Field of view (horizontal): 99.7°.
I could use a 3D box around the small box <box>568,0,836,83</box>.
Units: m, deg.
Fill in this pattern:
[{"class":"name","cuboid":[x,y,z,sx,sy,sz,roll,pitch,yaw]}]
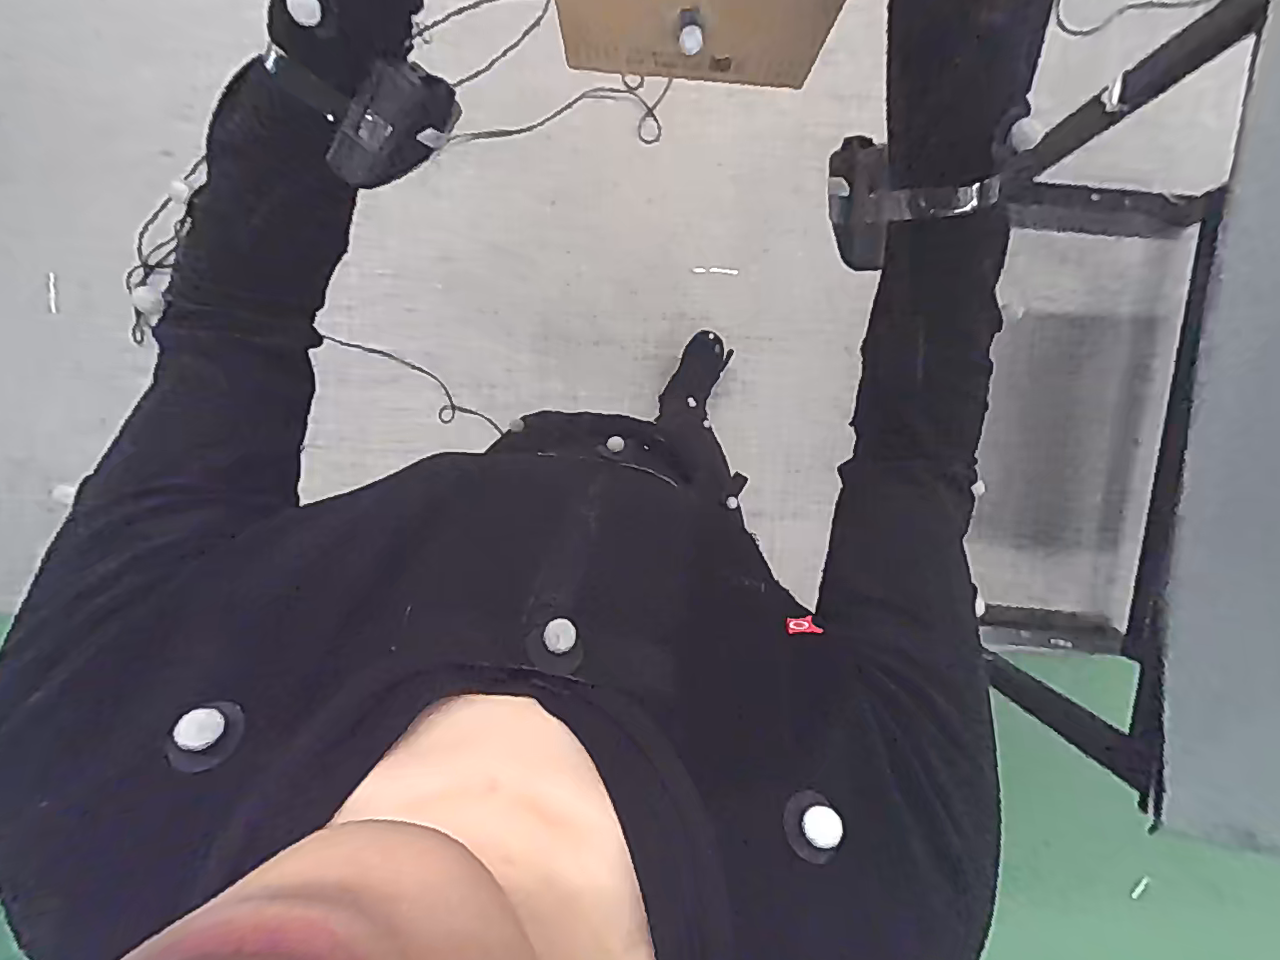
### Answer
[{"class":"small box","cuboid":[0.039,-0.363,0.288,0.168,0.176,0.179,5,96,-1]}]
